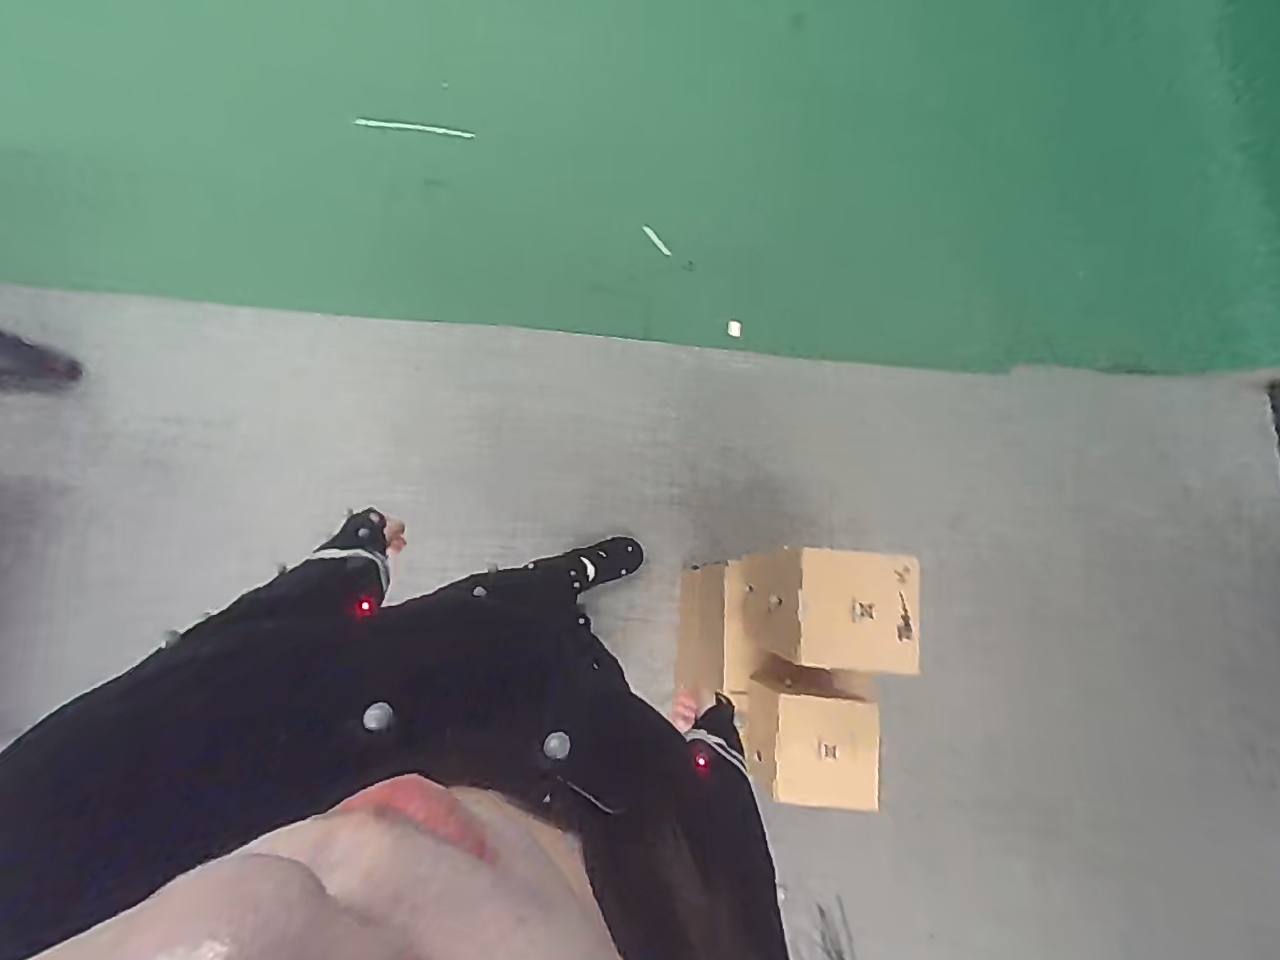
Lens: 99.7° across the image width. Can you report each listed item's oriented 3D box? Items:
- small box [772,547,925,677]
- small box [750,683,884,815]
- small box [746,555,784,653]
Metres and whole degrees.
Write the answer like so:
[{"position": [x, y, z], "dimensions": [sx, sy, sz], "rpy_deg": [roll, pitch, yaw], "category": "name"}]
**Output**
[{"position": [0.311, 0.198, 0.837], "dimensions": [0.179, 0.176, 0.168], "rpy_deg": [6, 80, -2], "category": "small box"}, {"position": [0.303, 0.460, 0.951], "dimensions": [0.179, 0.176, 0.168], "rpy_deg": [8, 78, -4], "category": "small box"}, {"position": [0.306, 0.228, 0.998], "dimensions": [0.179, 0.176, 0.168], "rpy_deg": [5, 80, -2], "category": "small box"}]
